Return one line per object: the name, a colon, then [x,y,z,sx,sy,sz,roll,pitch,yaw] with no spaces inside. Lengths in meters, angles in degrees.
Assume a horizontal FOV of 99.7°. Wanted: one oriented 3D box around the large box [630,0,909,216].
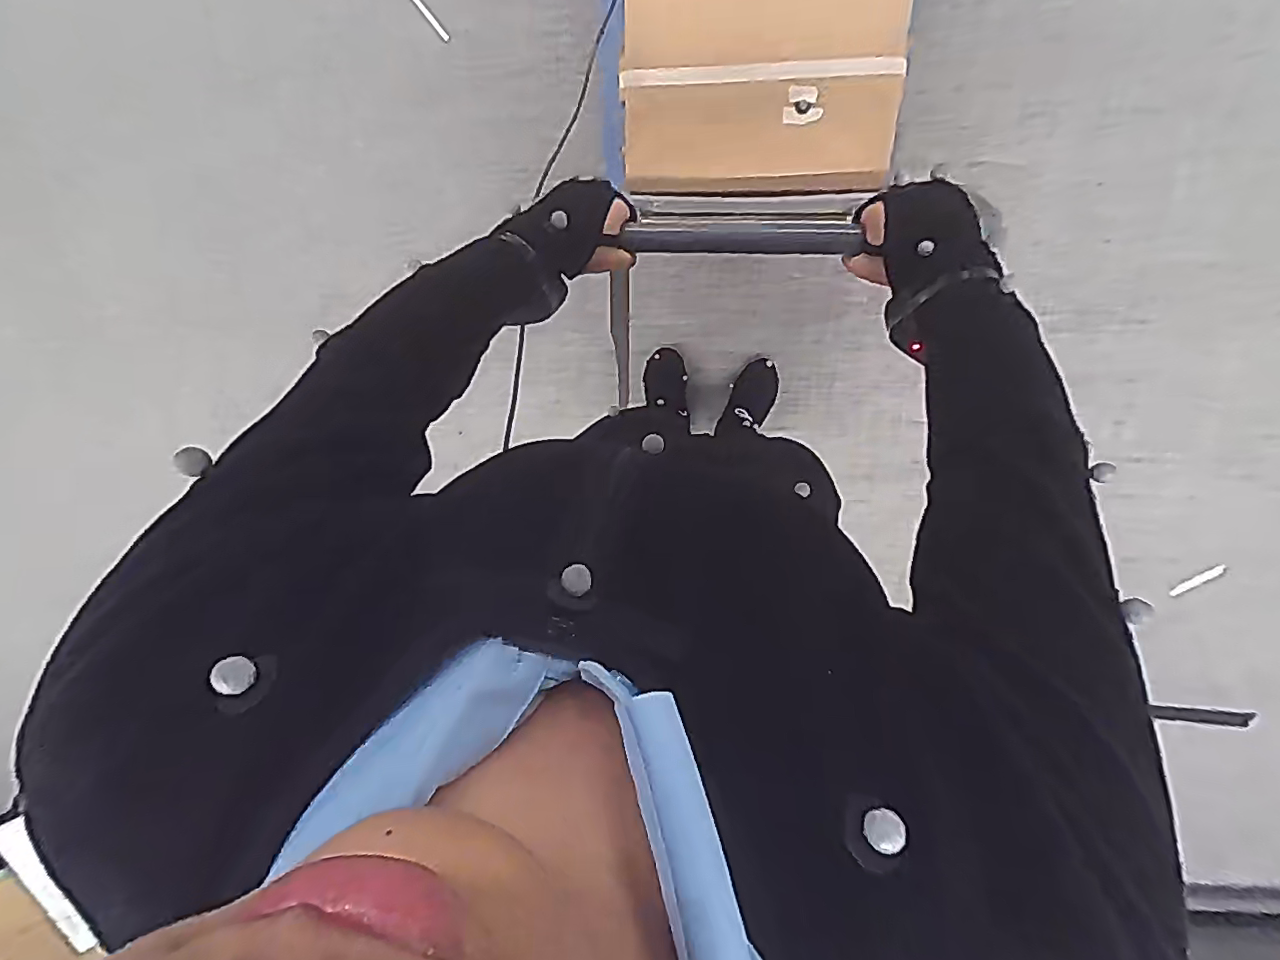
large box: [0.202,-0.656,0.951,0.408,0.320,0.320,3,111,8]
